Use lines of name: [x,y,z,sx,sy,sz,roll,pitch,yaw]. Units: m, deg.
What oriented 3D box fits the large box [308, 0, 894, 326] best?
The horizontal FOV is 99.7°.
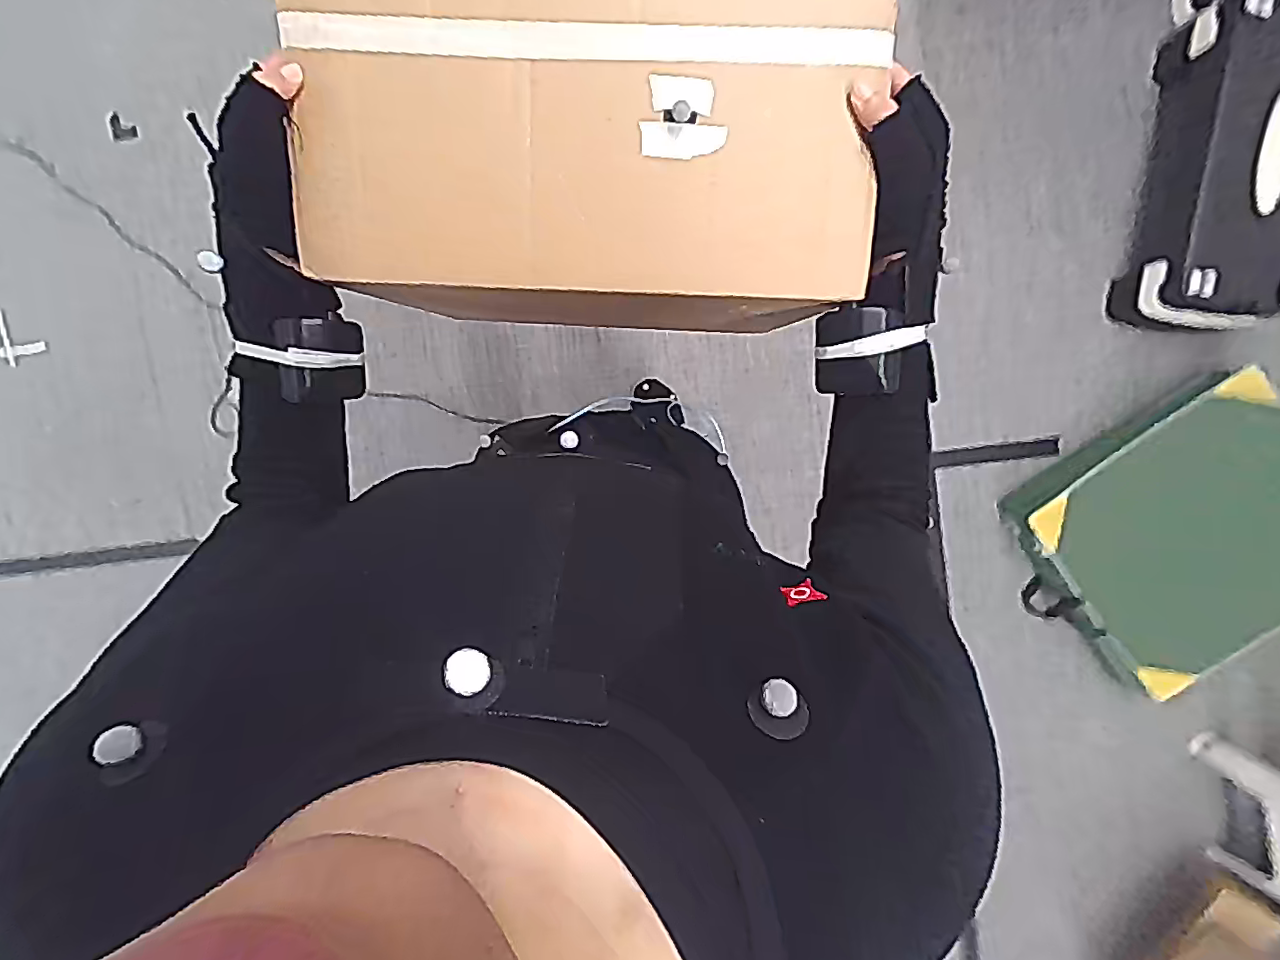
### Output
large box: [-0.029,-0.324,0.516,0.408,0.320,0.320,3,102,0]
